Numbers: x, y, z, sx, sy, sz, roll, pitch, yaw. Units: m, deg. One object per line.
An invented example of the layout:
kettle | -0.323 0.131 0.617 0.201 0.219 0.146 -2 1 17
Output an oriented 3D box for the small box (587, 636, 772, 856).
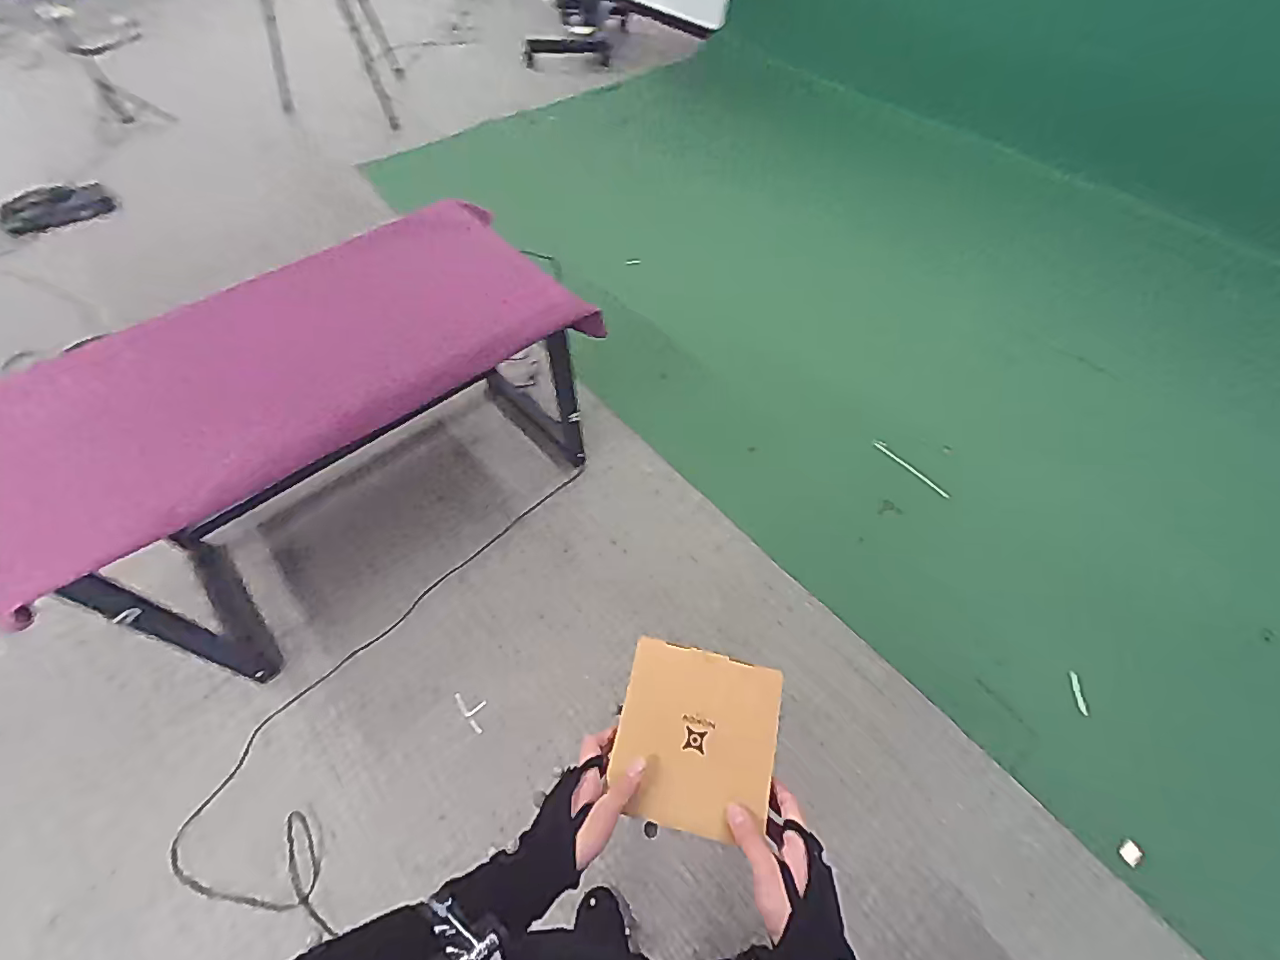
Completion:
small box | 0.045 0.305 0.627 0.168 0.176 0.179 12 60 5
